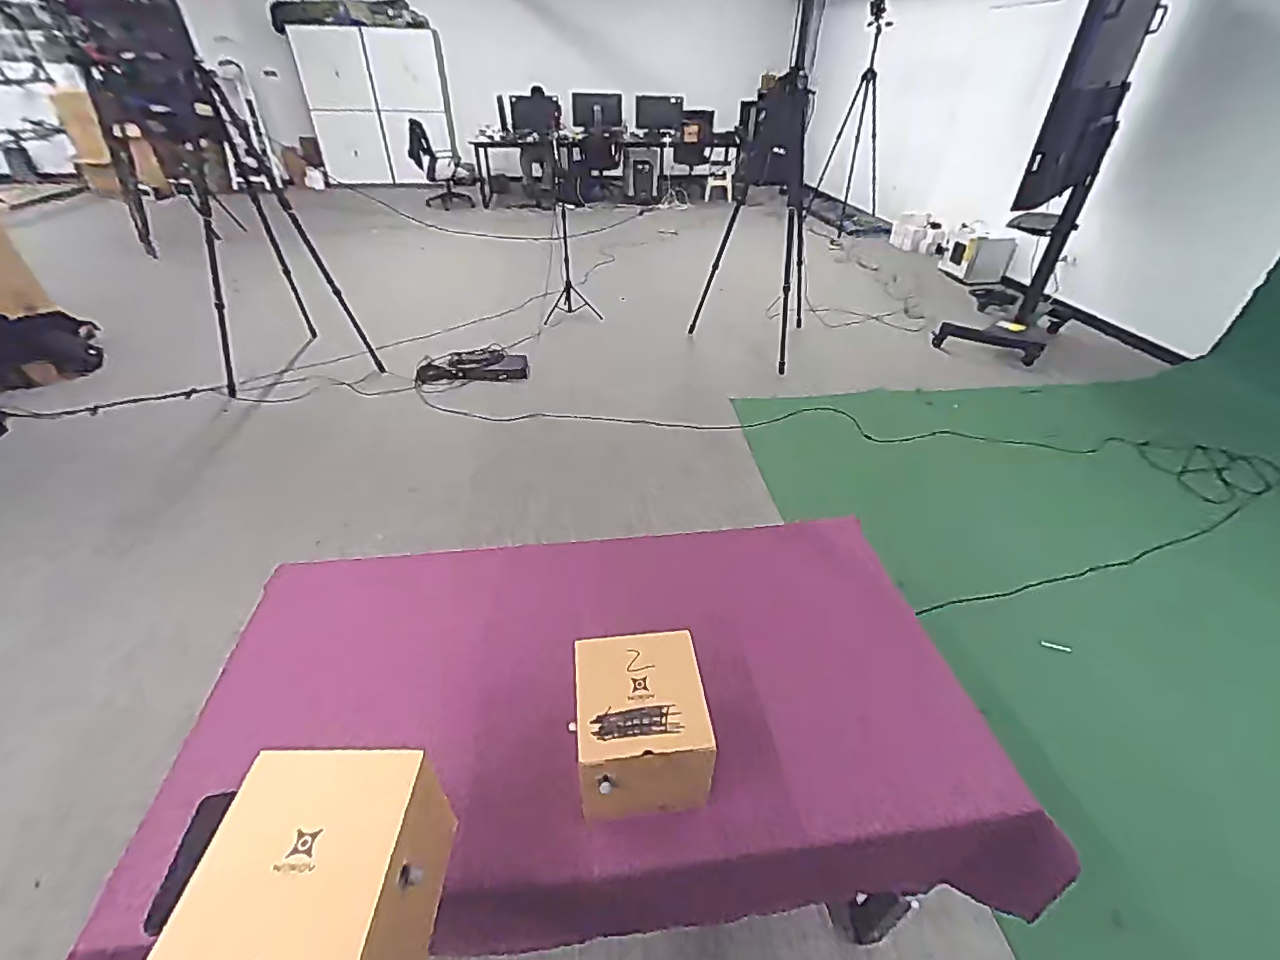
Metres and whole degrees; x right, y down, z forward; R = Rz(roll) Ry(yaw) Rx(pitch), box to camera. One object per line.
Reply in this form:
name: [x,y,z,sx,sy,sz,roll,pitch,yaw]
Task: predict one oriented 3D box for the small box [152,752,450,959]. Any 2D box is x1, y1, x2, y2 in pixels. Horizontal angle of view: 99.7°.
small box: [-0.298,0.394,0.528,0.168,0.176,0.179,0,38,0]
